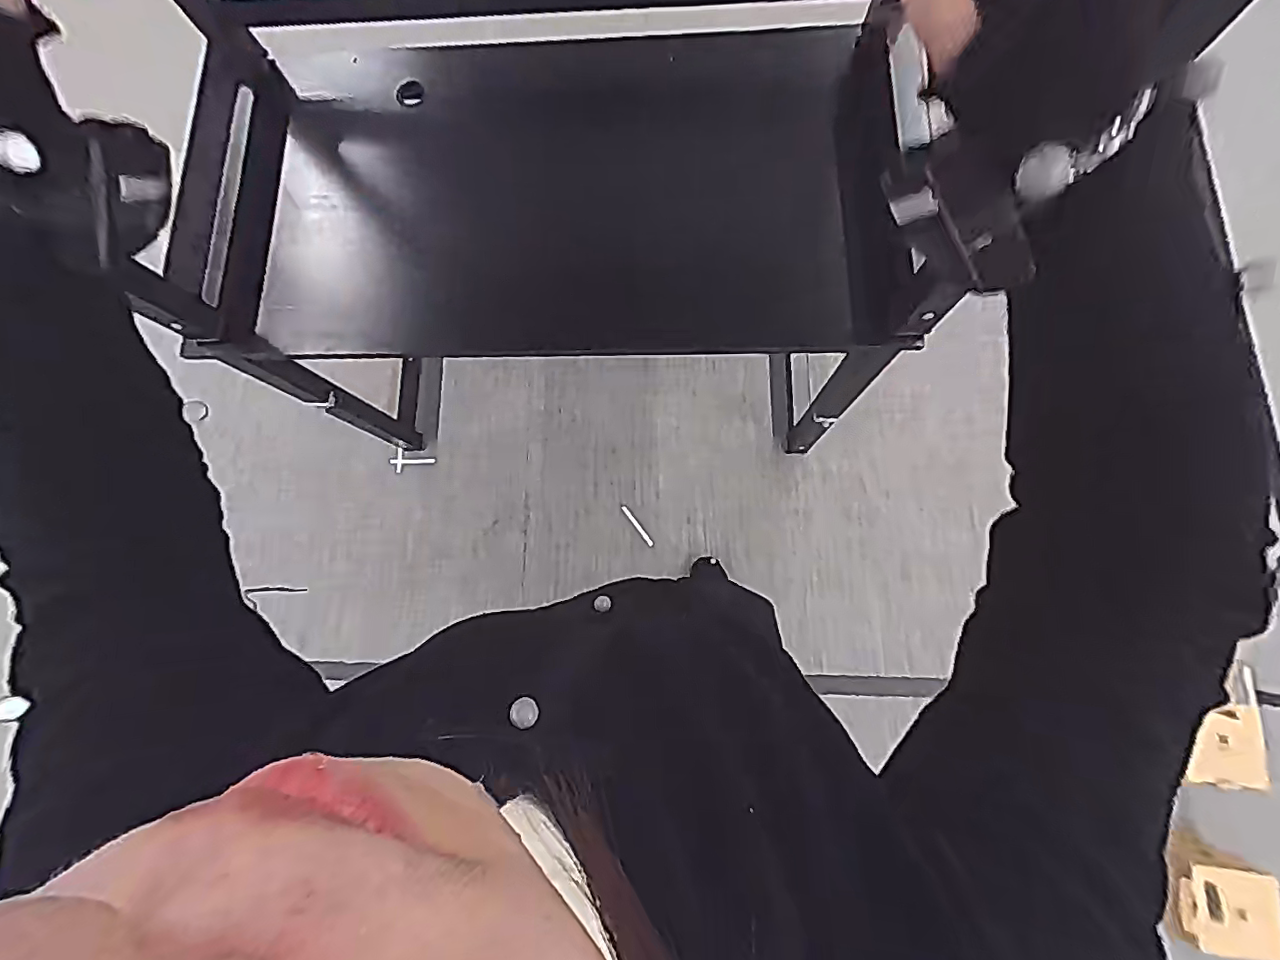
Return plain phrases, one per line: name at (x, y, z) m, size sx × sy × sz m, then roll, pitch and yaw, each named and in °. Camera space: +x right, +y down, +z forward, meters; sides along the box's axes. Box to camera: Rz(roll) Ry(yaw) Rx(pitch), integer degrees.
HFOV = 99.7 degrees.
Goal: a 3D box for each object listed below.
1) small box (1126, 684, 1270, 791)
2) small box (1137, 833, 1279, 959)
small box at (1.289, 0.592, 1.262) m, size 0.168 × 0.176 × 0.179 m, roll 5°, pitch 80°, yaw 5°
small box at (1.259, 0.917, 1.203) m, size 0.179 × 0.176 × 0.168 m, roll 5°, pitch 80°, yaw 4°
